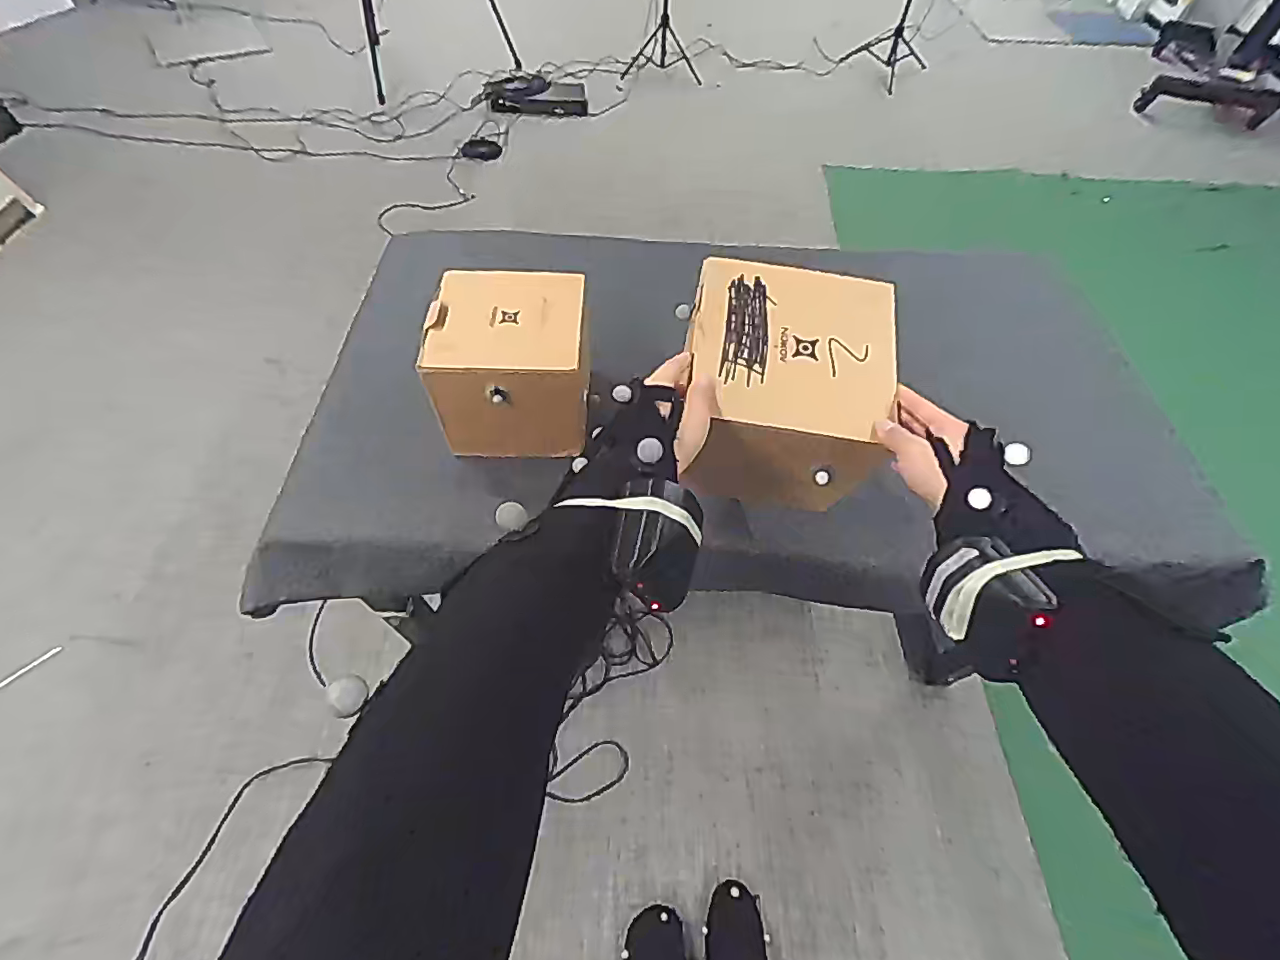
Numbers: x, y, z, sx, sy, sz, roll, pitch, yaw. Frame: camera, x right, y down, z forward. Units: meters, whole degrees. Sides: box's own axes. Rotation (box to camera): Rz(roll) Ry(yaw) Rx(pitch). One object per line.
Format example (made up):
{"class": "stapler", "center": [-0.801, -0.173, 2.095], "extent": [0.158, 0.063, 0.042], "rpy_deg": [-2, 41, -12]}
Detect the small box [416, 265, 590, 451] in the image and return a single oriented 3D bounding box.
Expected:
{"class": "small box", "center": [-0.158, -0.149, 0.690], "extent": [0.179, 0.176, 0.168], "rpy_deg": [1, 58, -2]}
